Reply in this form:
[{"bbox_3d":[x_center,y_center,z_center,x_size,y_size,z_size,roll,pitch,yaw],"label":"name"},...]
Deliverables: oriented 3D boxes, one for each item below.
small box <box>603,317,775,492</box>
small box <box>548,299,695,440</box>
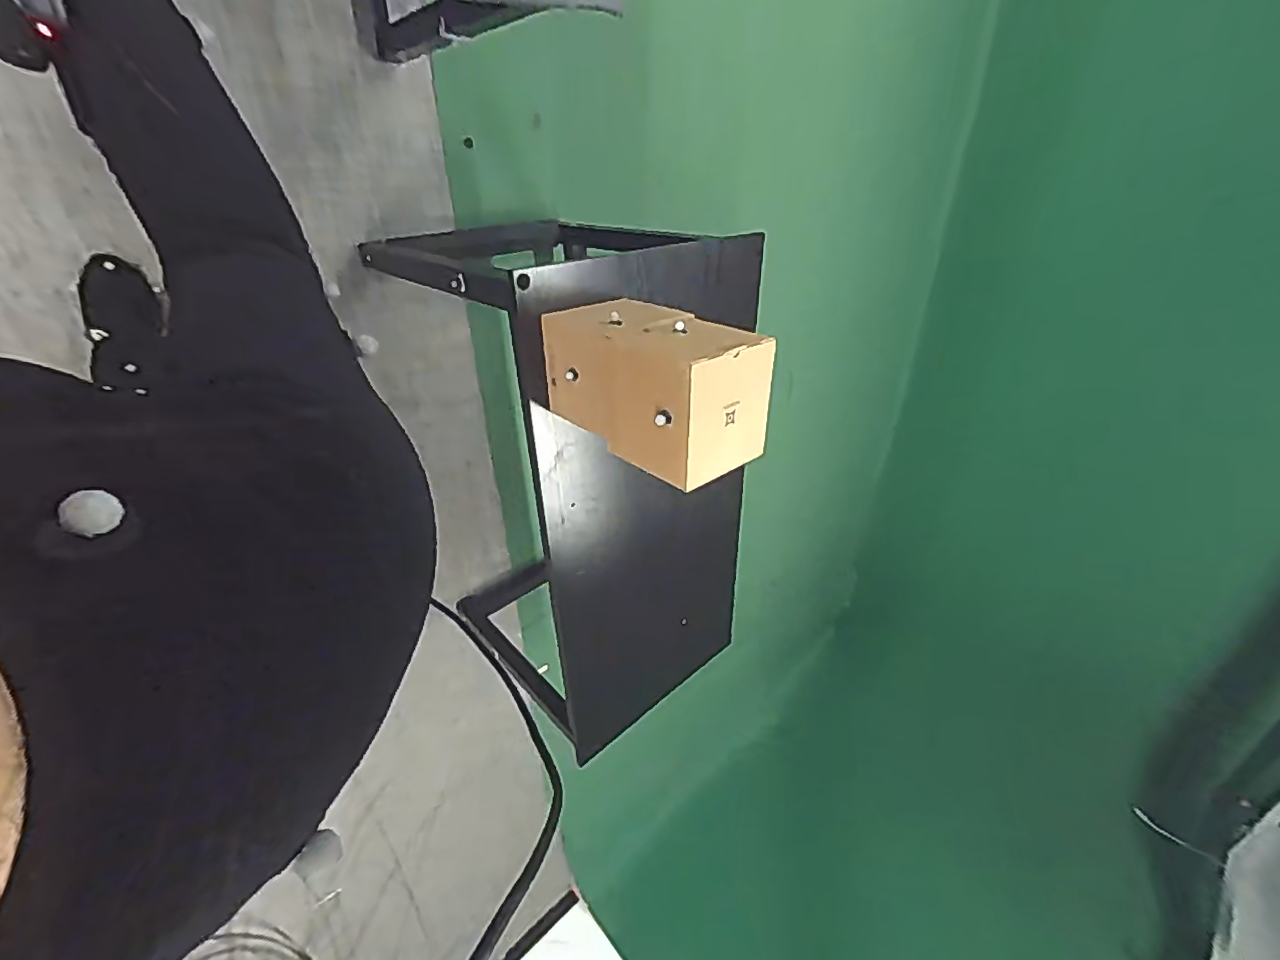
[{"bbox_3d":[0.062,-0.114,0.754,0.168,0.176,0.179,-24,128,-35],"label":"small box"},{"bbox_3d":[-0.035,-0.185,0.865,0.179,0.176,0.168,-25,129,-35],"label":"small box"}]
